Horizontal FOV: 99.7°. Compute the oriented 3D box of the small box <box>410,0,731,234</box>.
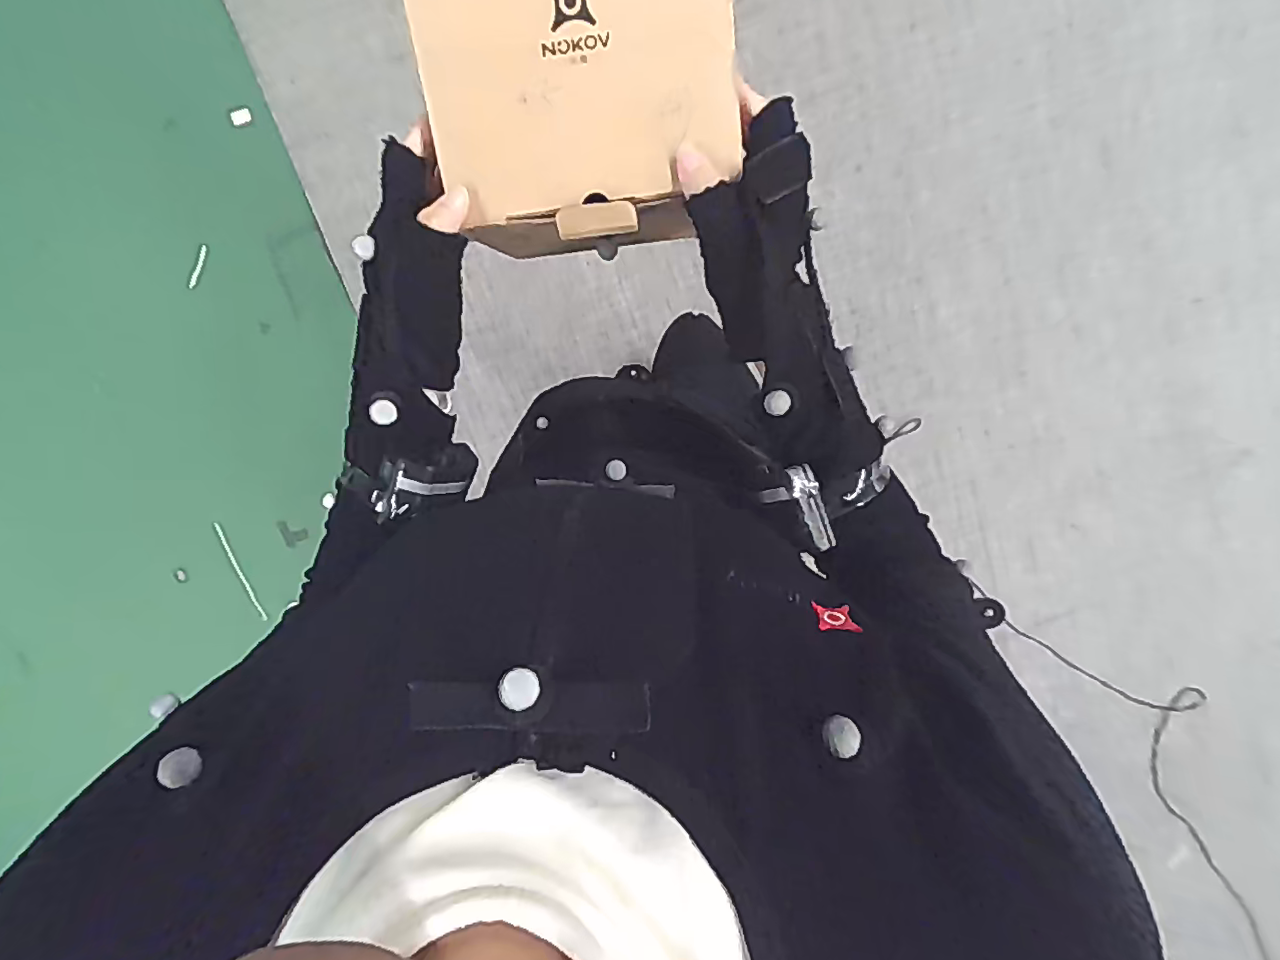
[{"bbox_3d":[-0.035,-0.269,0.358,0.168,0.176,0.179,-7,108,3],"label":"small box"}]
